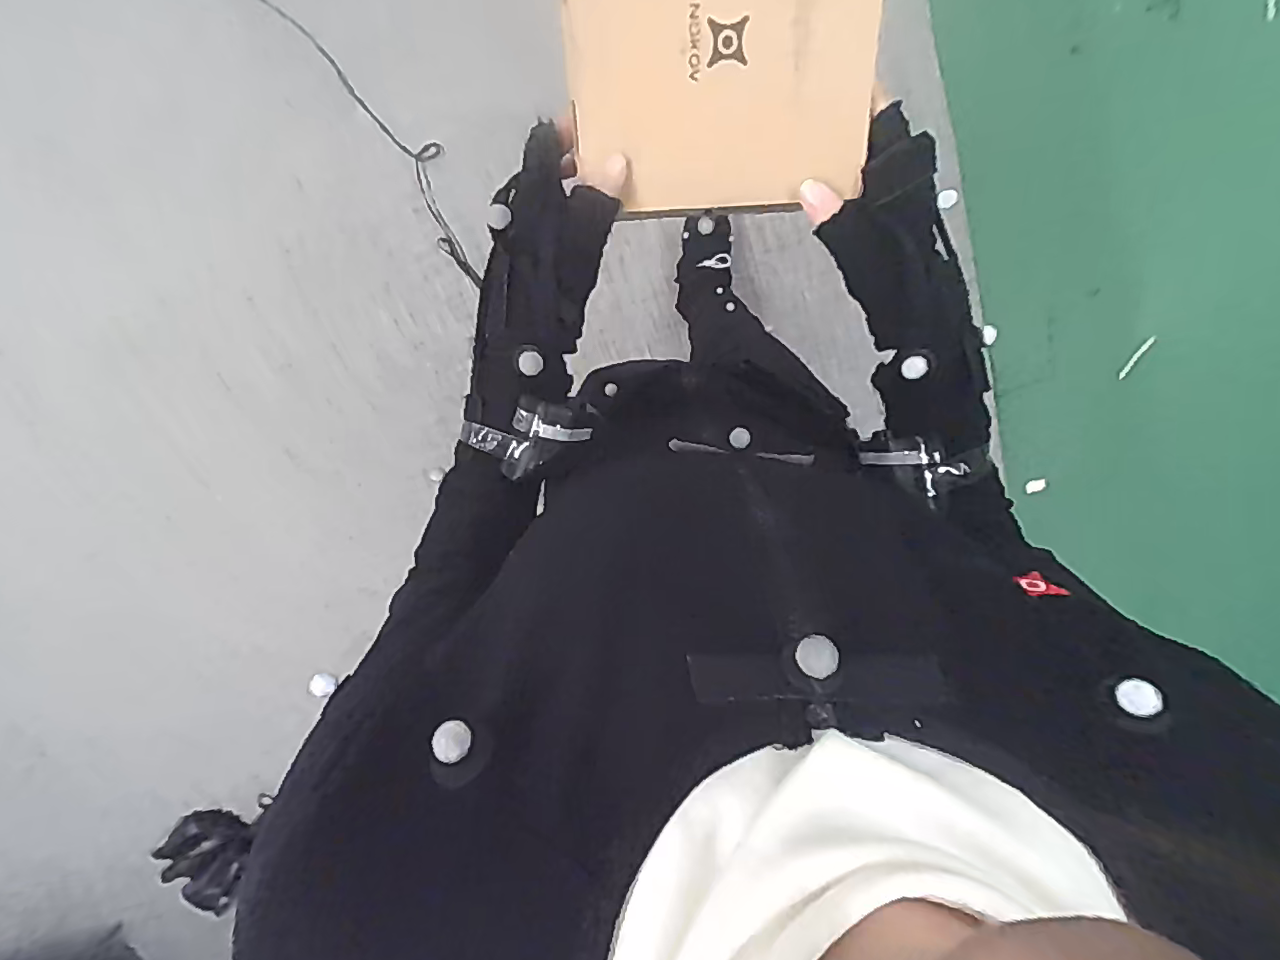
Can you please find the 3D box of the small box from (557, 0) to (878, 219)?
[{"bbox_3d":[0.045,-0.278,0.372,0.179,0.176,0.168,-4,115,2],"label":"small box"}]
